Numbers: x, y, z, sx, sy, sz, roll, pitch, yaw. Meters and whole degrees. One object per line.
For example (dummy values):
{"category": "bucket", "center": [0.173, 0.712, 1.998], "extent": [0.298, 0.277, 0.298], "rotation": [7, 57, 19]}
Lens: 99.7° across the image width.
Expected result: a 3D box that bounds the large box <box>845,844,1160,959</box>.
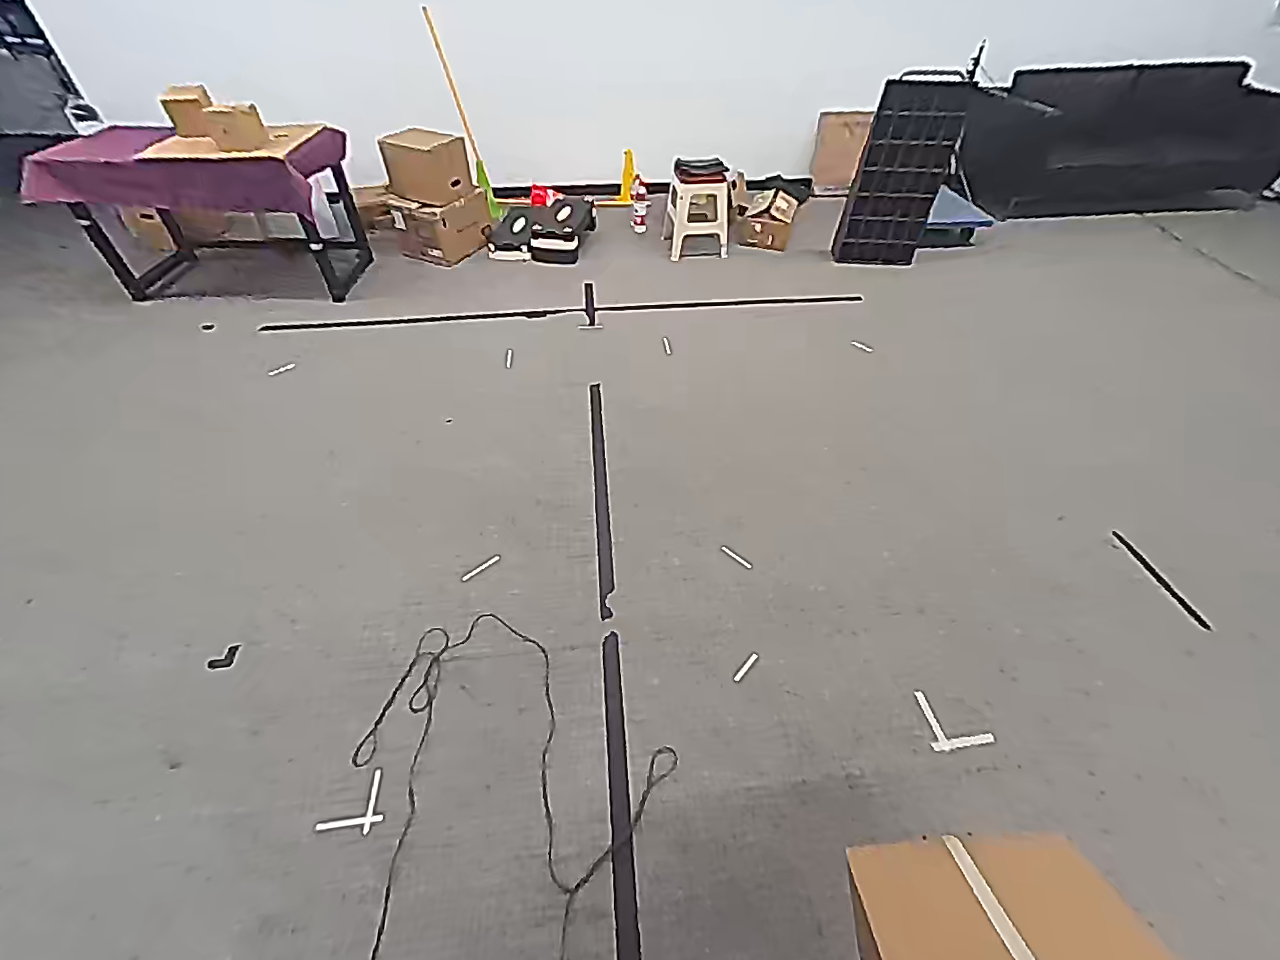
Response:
{"category": "large box", "center": [0.464, 0.716, 0.620], "extent": [0.320, 0.320, 0.408], "rotation": [-9, 4, 6]}
